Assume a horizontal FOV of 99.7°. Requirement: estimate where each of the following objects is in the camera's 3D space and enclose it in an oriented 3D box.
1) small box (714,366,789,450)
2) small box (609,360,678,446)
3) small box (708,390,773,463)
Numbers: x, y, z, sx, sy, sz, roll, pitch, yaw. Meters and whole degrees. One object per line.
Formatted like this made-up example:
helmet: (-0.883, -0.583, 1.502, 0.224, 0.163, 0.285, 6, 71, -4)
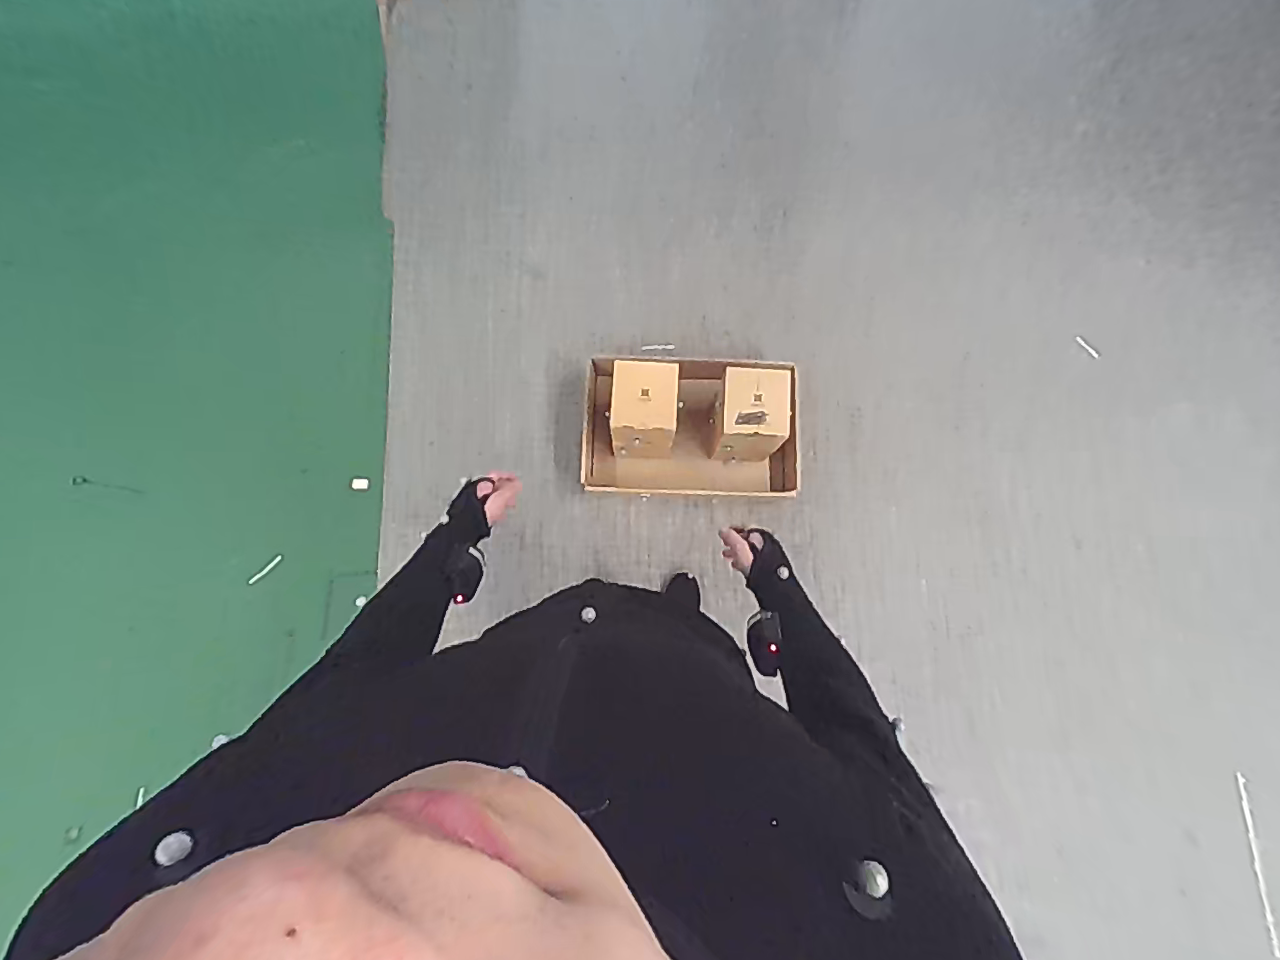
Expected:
small box: (0.289, -0.182, 1.419, 0.168, 0.176, 0.179, 4, 79, 1)
small box: (0.006, -0.197, 1.419, 0.168, 0.176, 0.179, 3, 80, -1)
small box: (0.289, -0.155, 1.581, 0.168, 0.176, 0.179, 2, 81, 1)
